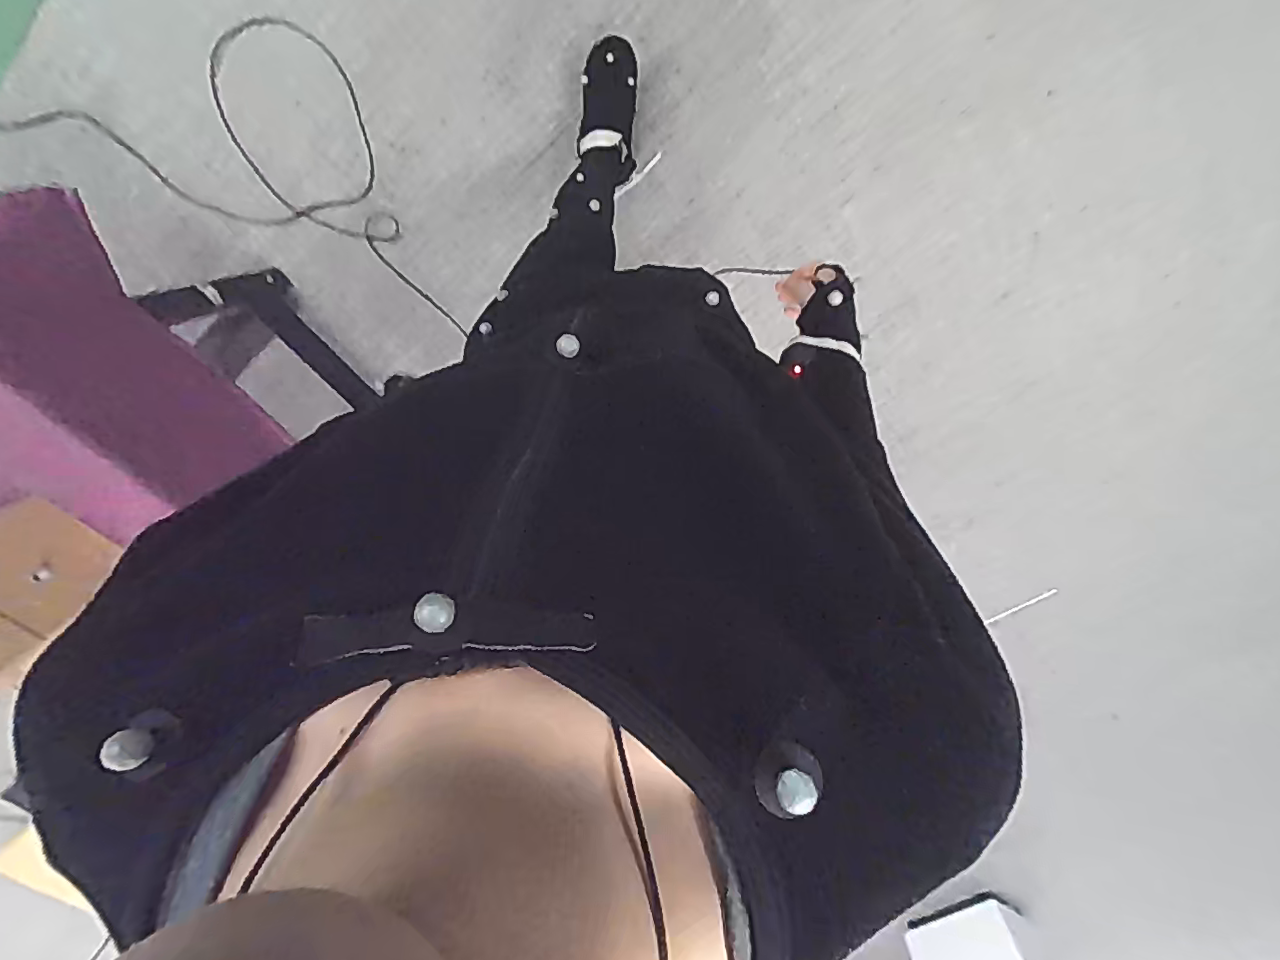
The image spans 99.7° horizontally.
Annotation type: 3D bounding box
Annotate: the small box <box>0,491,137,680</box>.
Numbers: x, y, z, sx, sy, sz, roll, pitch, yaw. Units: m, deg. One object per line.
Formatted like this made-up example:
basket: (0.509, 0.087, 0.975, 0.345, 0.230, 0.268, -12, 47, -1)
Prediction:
small box: (-0.912, 0.148, 0.791, 0.168, 0.176, 0.179, -36, 112, 19)

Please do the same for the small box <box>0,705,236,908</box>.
small box: (-0.730, 0.455, 0.767, 0.179, 0.176, 0.168, -33, 111, 19)

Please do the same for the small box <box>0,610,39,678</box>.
small box: (-0.914, 0.225, 0.645, 0.168, 0.176, 0.179, -34, 112, 19)
